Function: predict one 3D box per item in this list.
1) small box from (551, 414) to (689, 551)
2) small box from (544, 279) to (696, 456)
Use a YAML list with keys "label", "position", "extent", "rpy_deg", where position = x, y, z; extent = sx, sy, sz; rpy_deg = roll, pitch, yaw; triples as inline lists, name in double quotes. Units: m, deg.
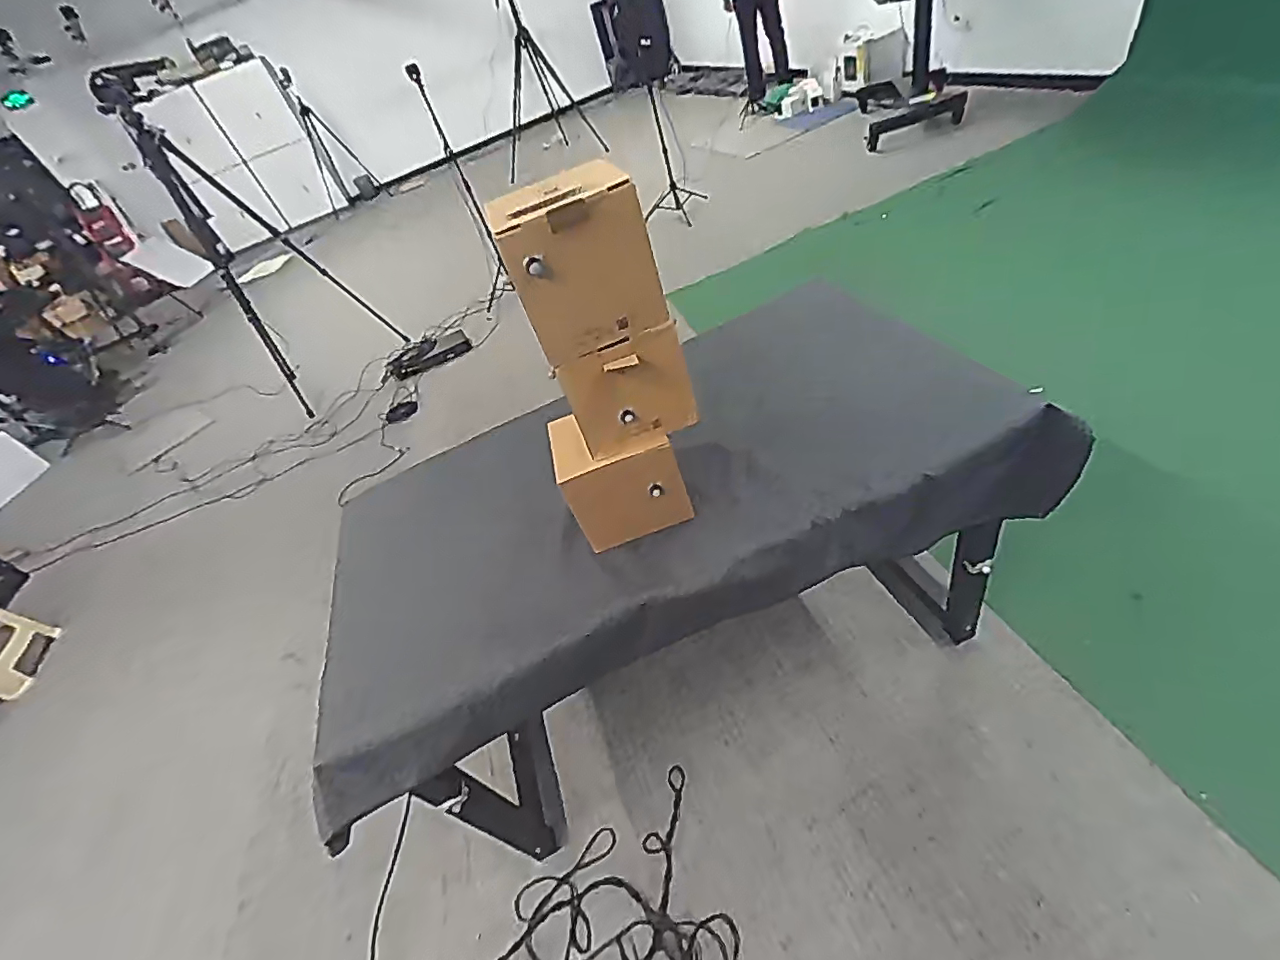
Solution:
- label: "small box"
  position: [-0.029, -0.015, 0.885]
  extent: [0.179, 0.176, 0.168]
  rpy_deg: [-21, 40, 2]
- label: "small box"
  position: [-0.030, -0.165, 0.799]
  extent: [0.168, 0.176, 0.179]
  rpy_deg: [-21, 41, 0]
